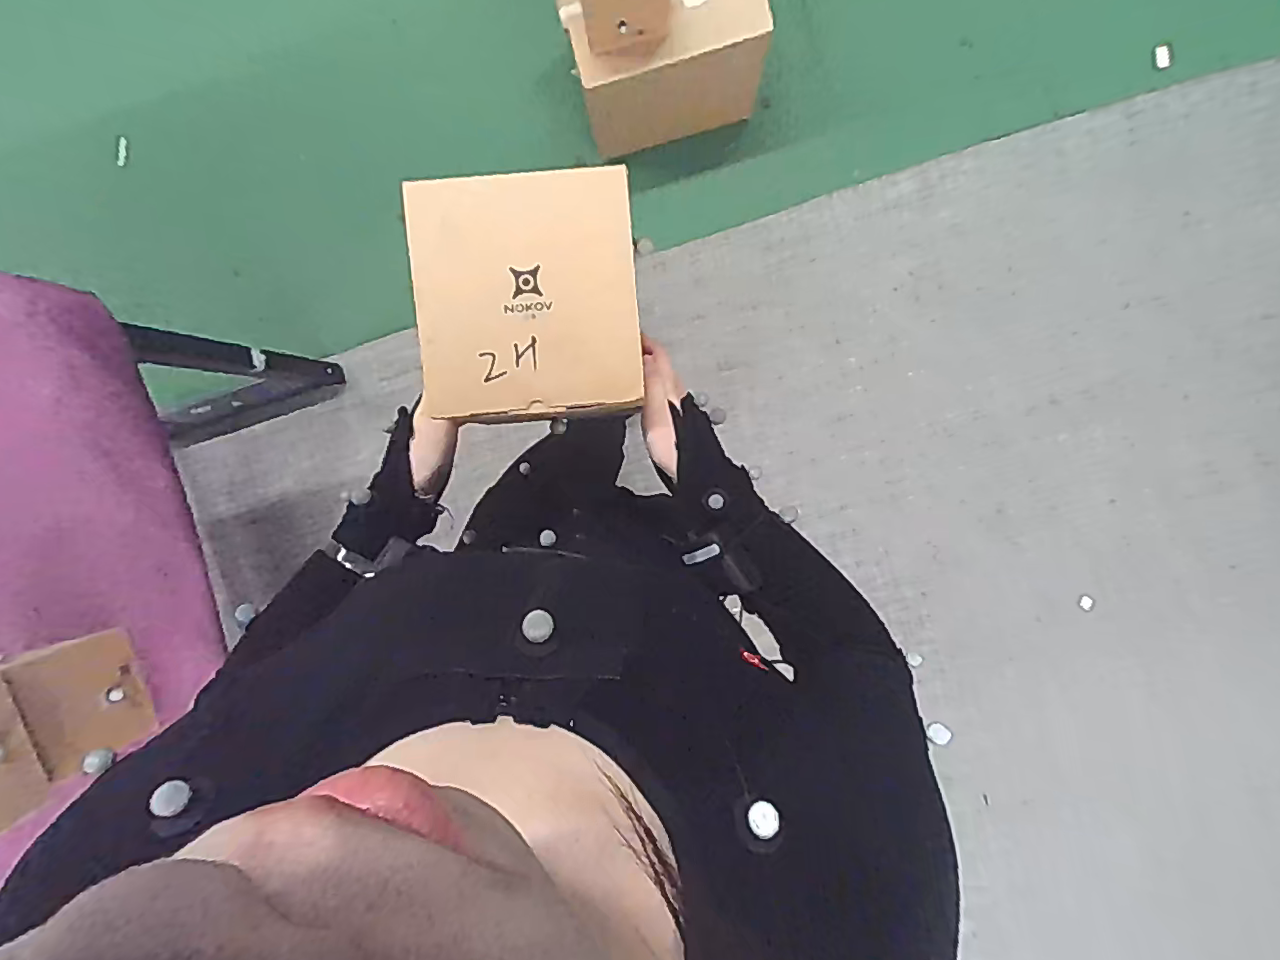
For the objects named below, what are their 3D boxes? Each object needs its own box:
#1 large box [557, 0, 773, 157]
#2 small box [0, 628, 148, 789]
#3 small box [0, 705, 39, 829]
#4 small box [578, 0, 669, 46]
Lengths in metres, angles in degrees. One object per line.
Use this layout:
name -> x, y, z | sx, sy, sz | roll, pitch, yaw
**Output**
large box -> 0.041, -1.014, 1.228 | 0.408, 0.320, 0.320 | -15, 95, 3
small box -> -0.837, 0.320, 0.728 | 0.179, 0.176, 0.168 | -15, 95, 4
small box -> -0.816, 0.335, 0.564 | 0.168, 0.176, 0.179 | -18, 94, 4
small box -> -0.043, -0.958, 0.992 | 0.168, 0.176, 0.179 | -13, 96, 3
